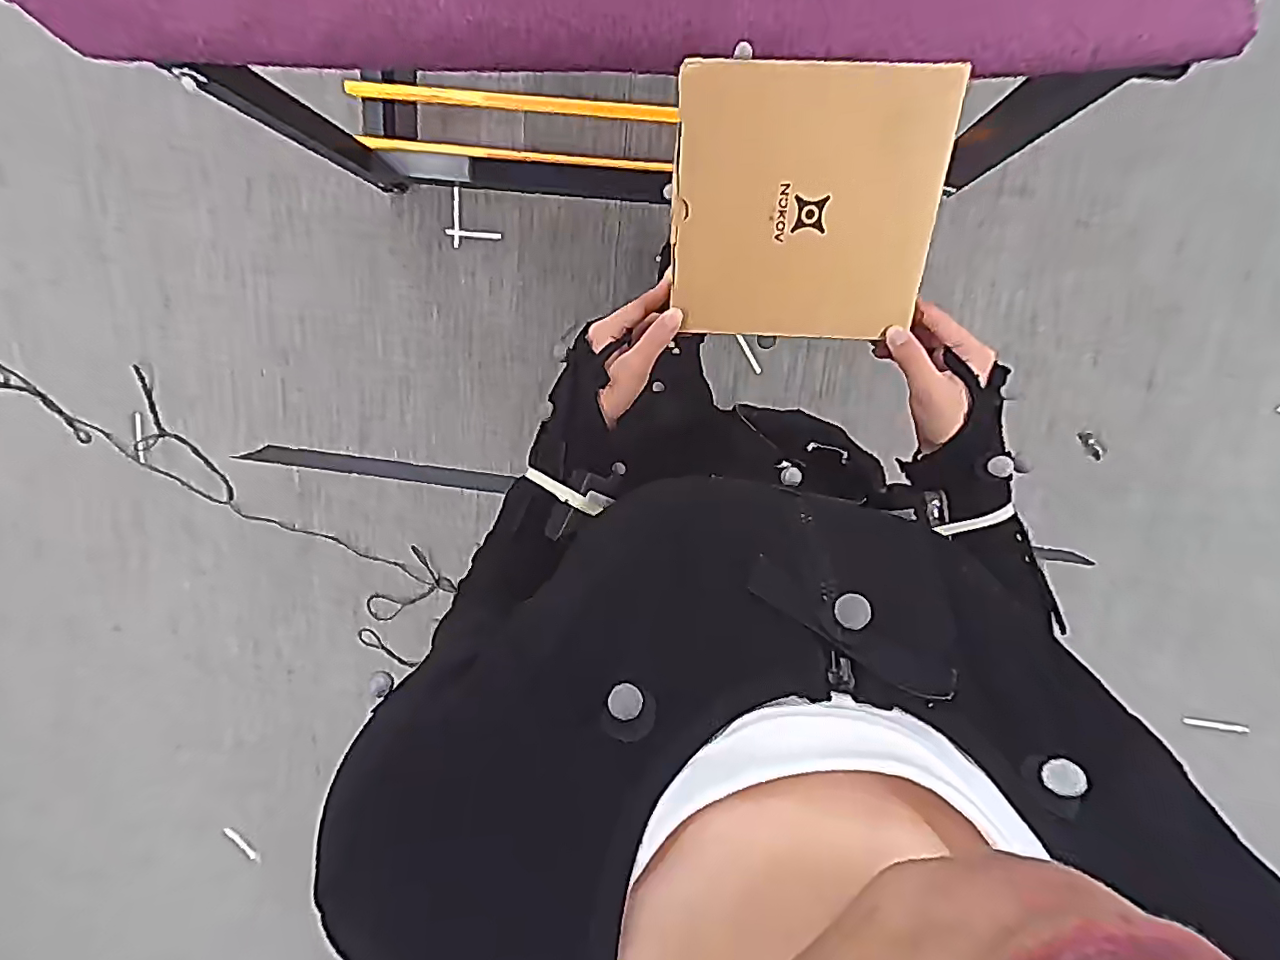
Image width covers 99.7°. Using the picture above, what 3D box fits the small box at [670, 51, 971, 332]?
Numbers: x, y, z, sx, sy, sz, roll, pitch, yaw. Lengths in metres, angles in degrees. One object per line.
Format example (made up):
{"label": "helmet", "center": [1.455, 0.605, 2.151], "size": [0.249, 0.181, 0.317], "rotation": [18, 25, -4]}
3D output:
{"label": "small box", "center": [0.118, -0.222, 0.436], "size": [0.179, 0.176, 0.168], "rotation": [4, 116, 4]}
